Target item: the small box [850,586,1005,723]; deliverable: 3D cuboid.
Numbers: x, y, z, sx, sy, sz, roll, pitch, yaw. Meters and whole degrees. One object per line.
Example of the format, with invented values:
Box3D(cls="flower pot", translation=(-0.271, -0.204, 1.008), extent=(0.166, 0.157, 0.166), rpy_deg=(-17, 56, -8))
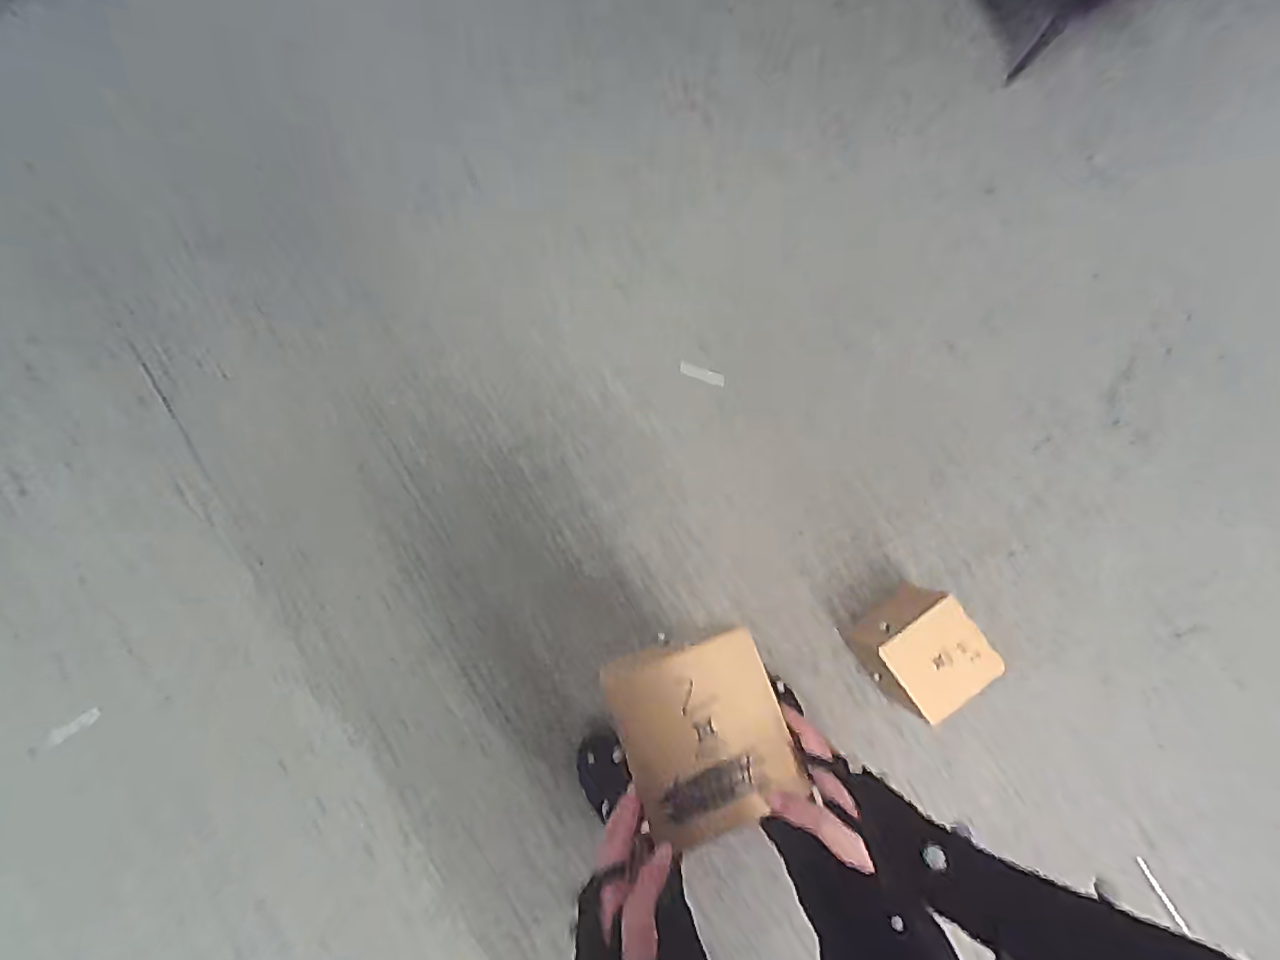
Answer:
Box3D(cls="small box", translation=(0.534, 0.323, 1.039), extent=(0.179, 0.176, 0.168), rpy_deg=(-35, 87, -5))
